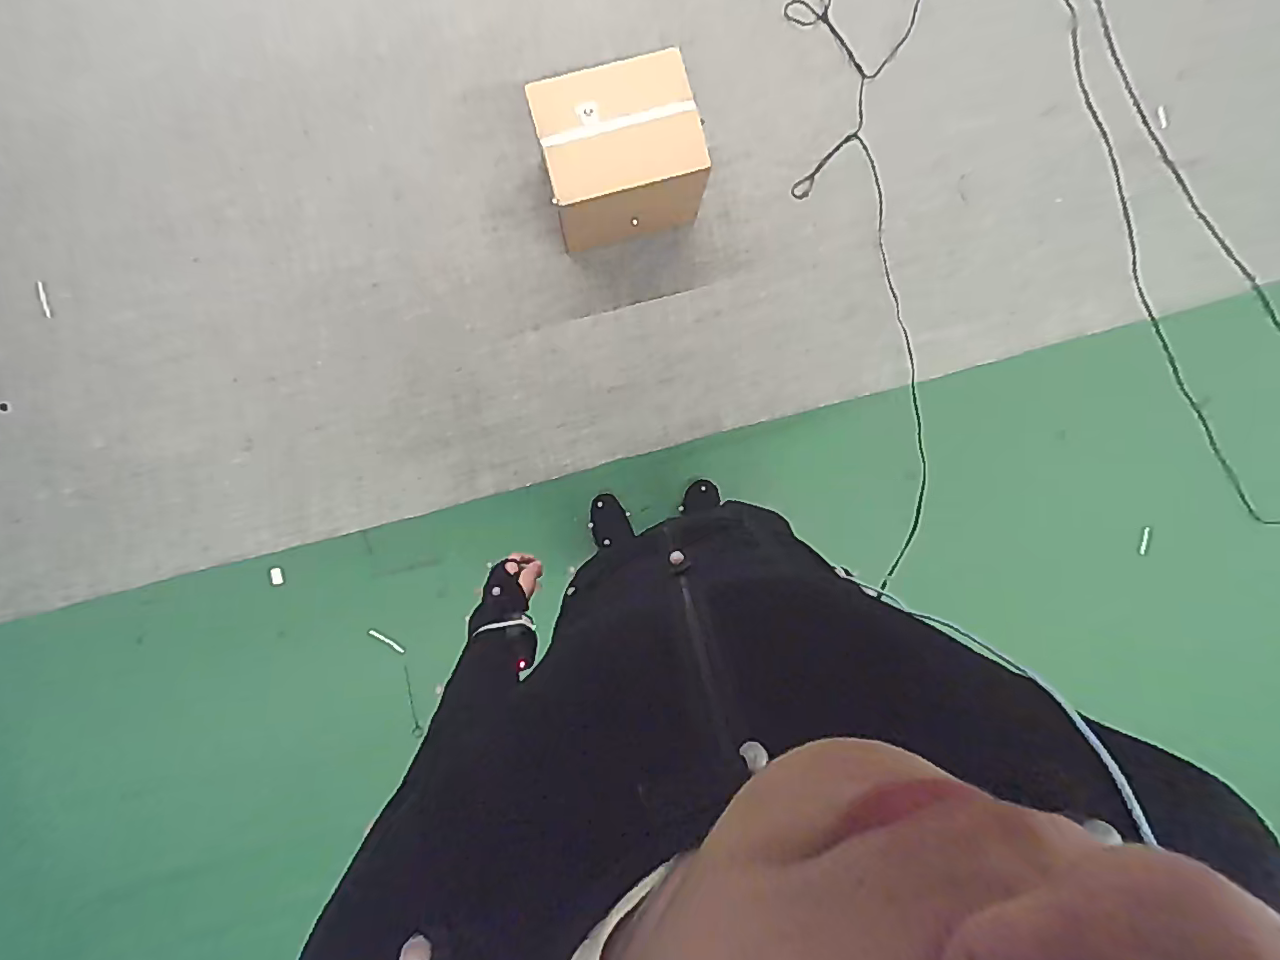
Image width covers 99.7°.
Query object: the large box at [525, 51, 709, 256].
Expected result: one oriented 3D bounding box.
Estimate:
[{"bbox_3d":[-0.060,-0.883,1.509,0.408,0.320,0.320,-17,90,-1],"label":"large box"}]
